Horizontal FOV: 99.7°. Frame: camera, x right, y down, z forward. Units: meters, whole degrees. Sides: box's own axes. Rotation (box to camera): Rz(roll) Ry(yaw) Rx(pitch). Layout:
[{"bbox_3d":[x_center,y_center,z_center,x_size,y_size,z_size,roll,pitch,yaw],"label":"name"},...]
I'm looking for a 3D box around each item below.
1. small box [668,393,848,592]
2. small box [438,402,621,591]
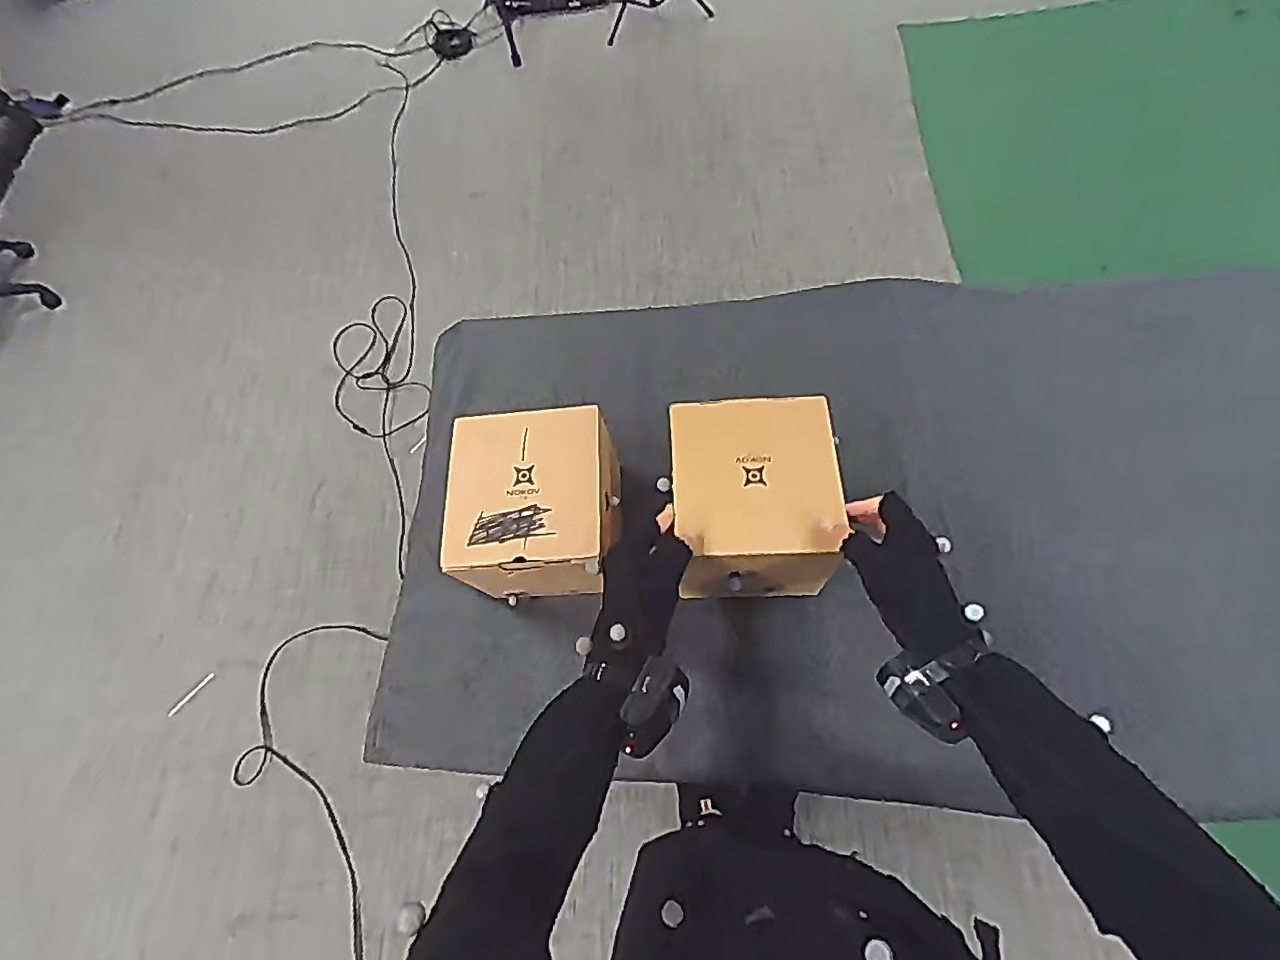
[{"bbox_3d":[0.121,0.026,0.606,0.168,0.176,0.179,-3,64,6],"label":"small box"},{"bbox_3d":[-0.114,0.031,0.634,0.168,0.176,0.179,-5,67,5],"label":"small box"}]
